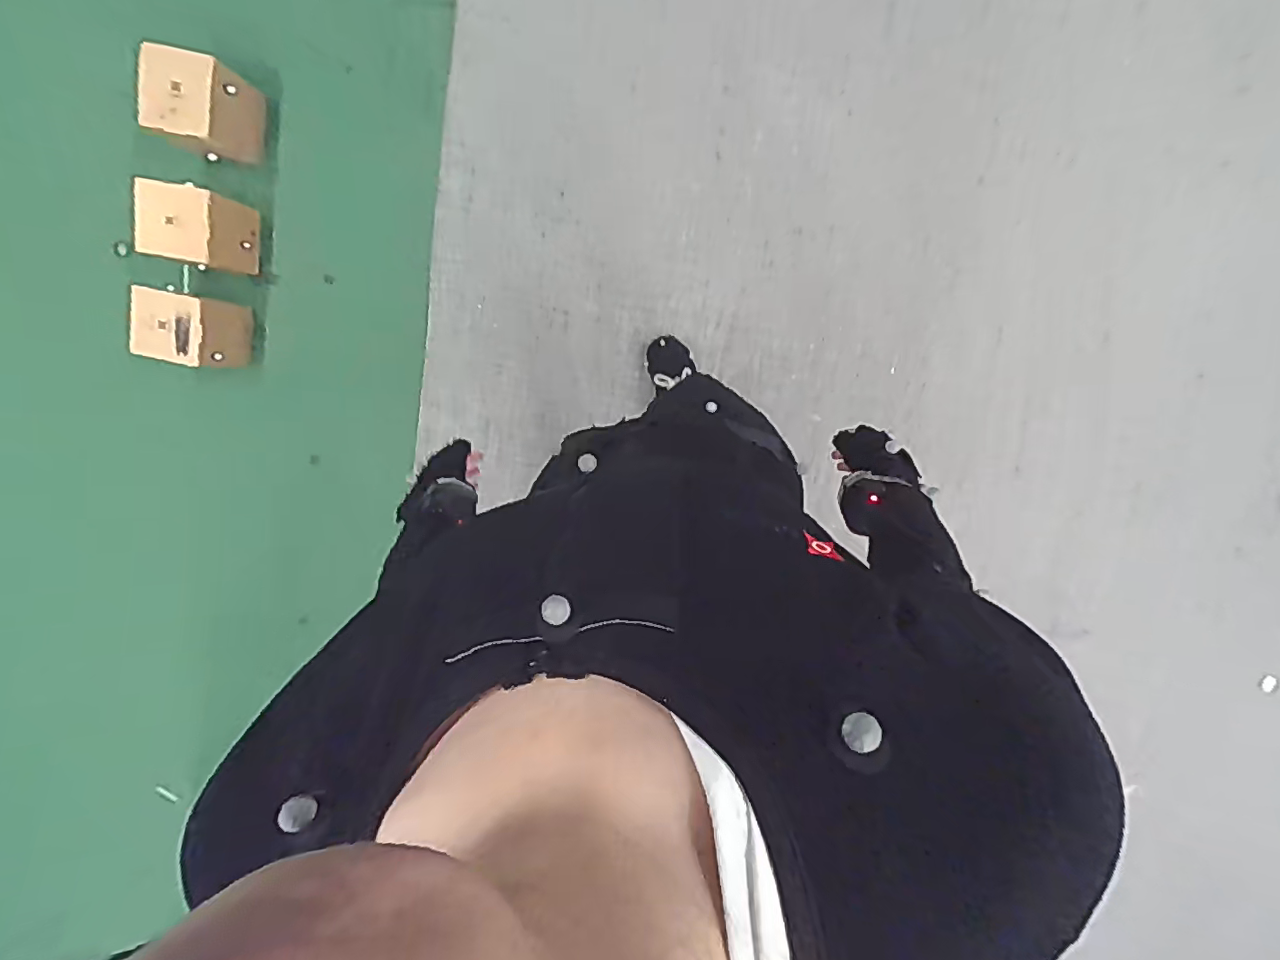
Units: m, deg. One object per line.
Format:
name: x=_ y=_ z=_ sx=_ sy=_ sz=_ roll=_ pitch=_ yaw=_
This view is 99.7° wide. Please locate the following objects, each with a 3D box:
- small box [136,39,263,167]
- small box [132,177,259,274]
small box: x=-1.034 y=-0.883 z=1.282 sx=0.168 sy=0.176 sz=0.179 roll=13 pitch=100 yaw=0
small box: x=-1.091 y=-0.619 z=1.334 sx=0.179 sy=0.176 sz=0.168 roll=10 pitch=100 yaw=-1
